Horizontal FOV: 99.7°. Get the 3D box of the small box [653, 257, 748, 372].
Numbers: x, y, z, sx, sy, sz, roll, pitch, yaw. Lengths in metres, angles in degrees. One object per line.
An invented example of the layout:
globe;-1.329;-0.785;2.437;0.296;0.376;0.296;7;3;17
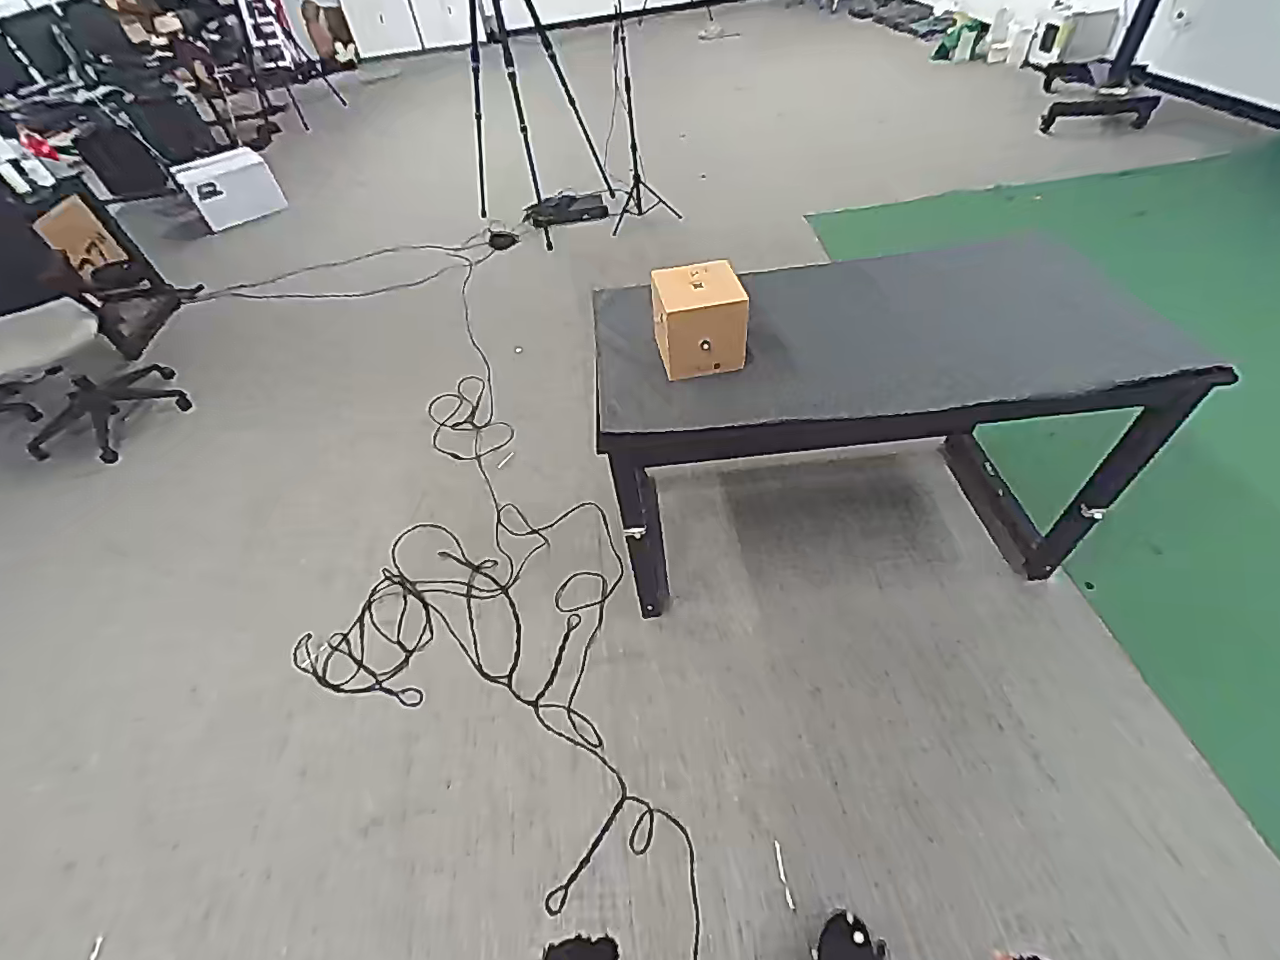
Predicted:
small box;0.125;-0.346;1.154;0.168;0.176;0.179;-10;48;-3
